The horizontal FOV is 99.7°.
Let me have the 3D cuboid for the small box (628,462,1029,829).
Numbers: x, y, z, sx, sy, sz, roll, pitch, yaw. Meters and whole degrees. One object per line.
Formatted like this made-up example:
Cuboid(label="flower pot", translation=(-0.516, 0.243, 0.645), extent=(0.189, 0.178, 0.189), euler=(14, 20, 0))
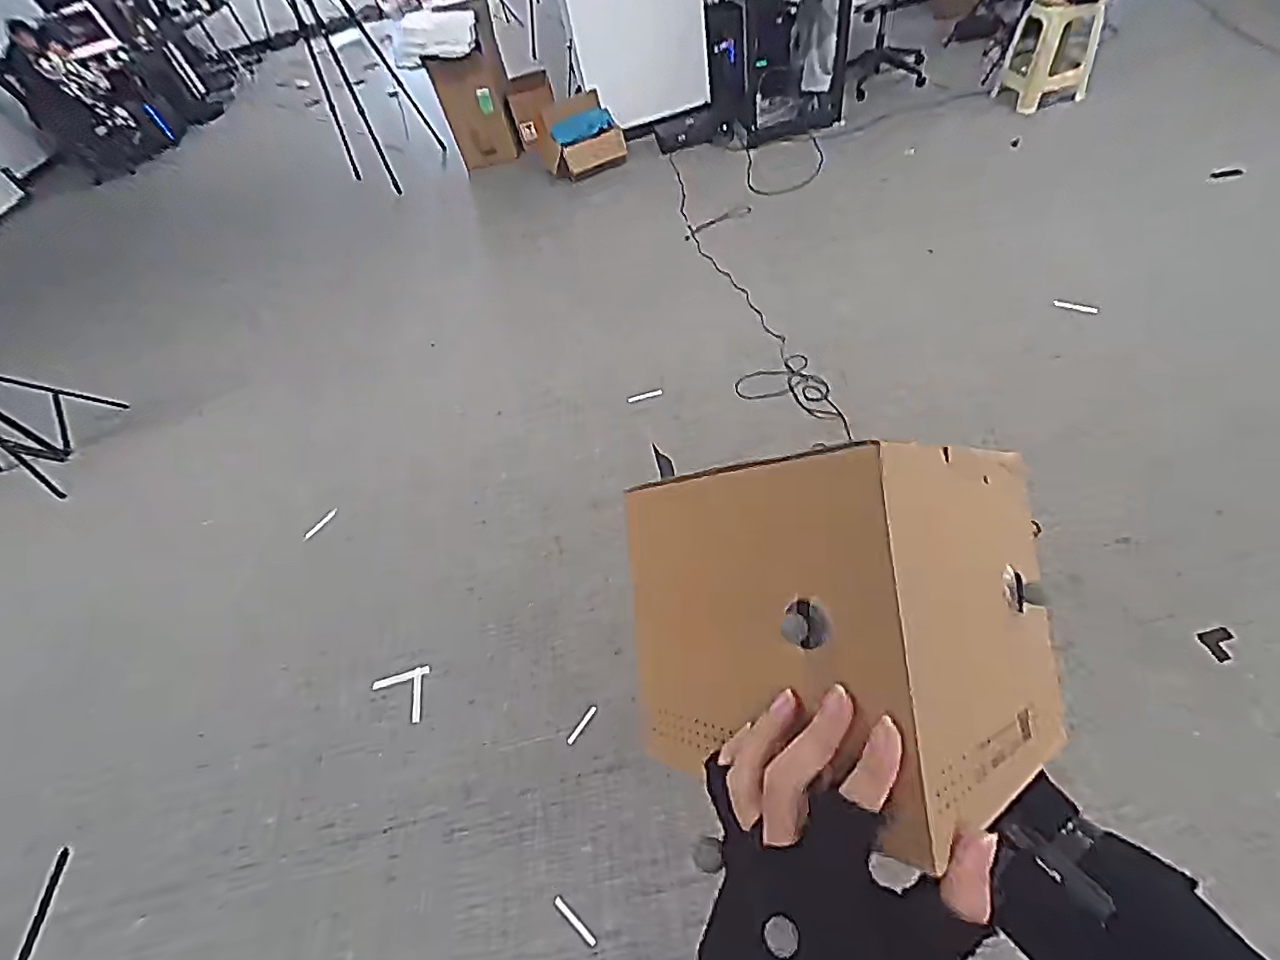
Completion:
Cuboid(label="small box", translation=(0.114, 0.086, 0.343), extent=(0.179, 0.168, 0.176), euler=(-14, 79, 50))
